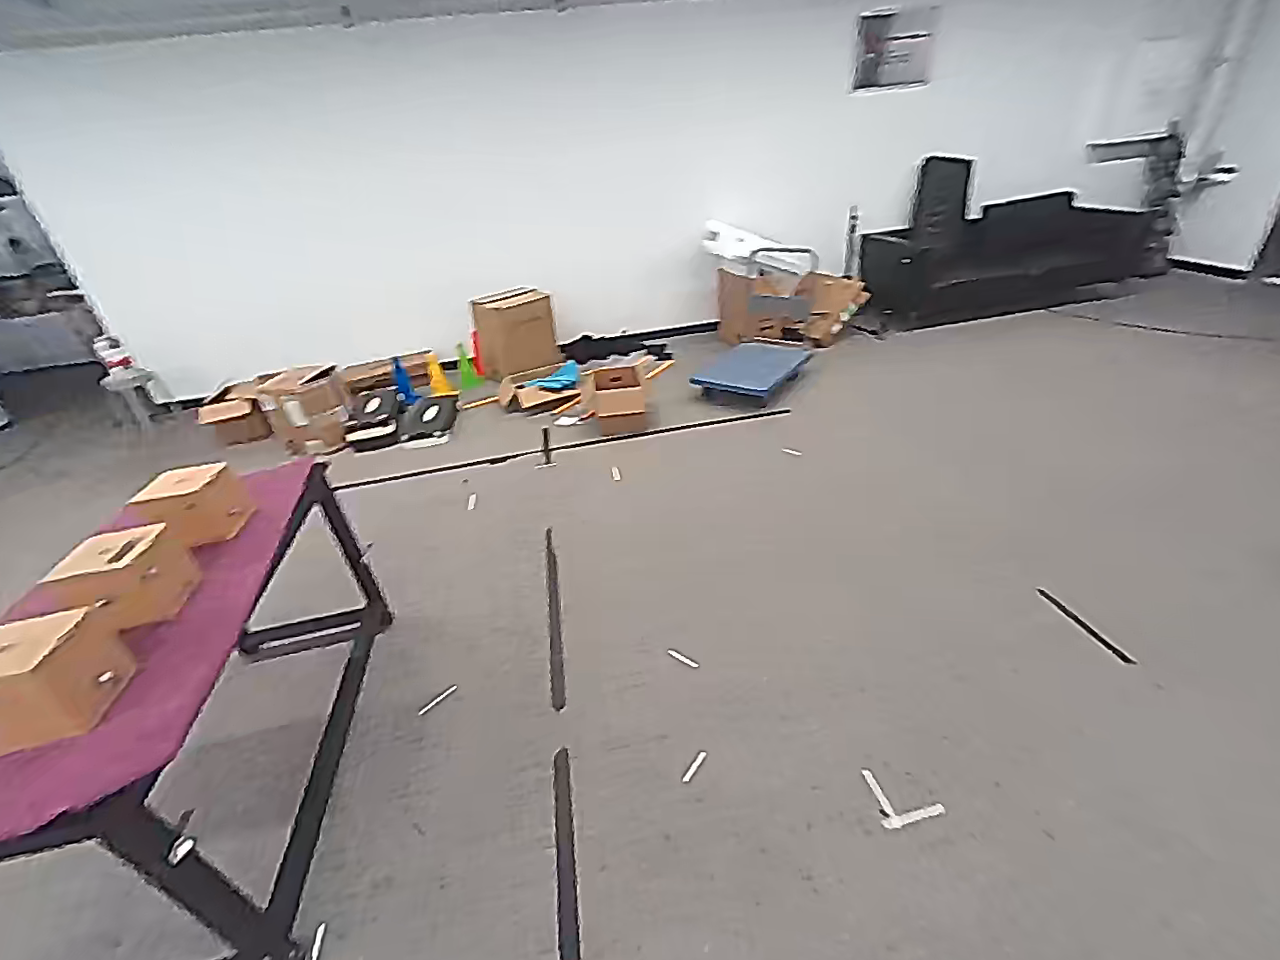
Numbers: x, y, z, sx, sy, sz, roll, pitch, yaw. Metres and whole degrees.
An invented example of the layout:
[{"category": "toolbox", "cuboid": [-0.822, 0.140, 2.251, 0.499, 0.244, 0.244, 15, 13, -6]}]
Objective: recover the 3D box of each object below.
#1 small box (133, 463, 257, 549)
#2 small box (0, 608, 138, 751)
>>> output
[{"category": "small box", "cuboid": [-1.228, 0.075, 1.509, 0.179, 0.176, 0.168, -10, 31, -4]}, {"category": "small box", "cuboid": [-1.105, 0.370, 0.997, 0.179, 0.176, 0.168, -11, 30, -9]}]
